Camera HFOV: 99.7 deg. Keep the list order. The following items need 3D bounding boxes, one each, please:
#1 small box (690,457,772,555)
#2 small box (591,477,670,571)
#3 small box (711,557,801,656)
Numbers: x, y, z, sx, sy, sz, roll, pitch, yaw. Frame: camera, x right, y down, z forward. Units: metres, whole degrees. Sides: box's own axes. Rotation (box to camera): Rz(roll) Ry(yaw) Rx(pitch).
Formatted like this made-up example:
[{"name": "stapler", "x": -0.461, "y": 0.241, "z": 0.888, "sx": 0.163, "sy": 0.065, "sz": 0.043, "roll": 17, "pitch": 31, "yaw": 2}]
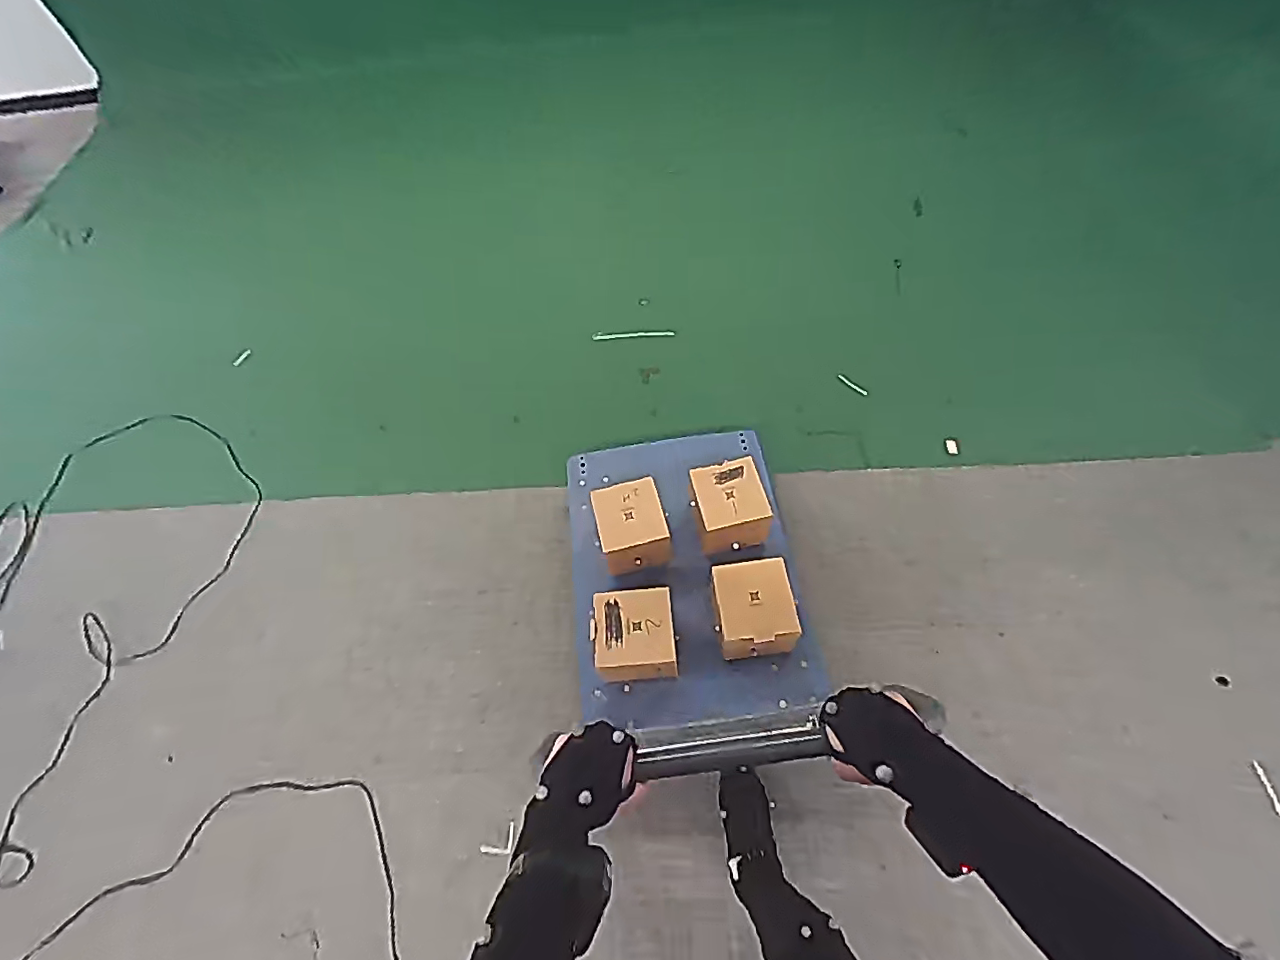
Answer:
[{"name": "small box", "x": 0.228, "y": 0.070, "z": 1.399, "sx": 0.168, "sy": 0.176, "sz": 0.179, "roll": -13, "pitch": 60, "yaw": -1}, {"name": "small box", "x": -0.021, "y": 0.122, "z": 1.394, "sx": 0.168, "sy": 0.176, "sz": 0.179, "roll": -13, "pitch": 60, "yaw": -3}, {"name": "small box", "x": 0.260, "y": 0.299, "z": 1.265, "sx": 0.168, "sy": 0.176, "sz": 0.179, "roll": -8, "pitch": 60, "yaw": 1}]
